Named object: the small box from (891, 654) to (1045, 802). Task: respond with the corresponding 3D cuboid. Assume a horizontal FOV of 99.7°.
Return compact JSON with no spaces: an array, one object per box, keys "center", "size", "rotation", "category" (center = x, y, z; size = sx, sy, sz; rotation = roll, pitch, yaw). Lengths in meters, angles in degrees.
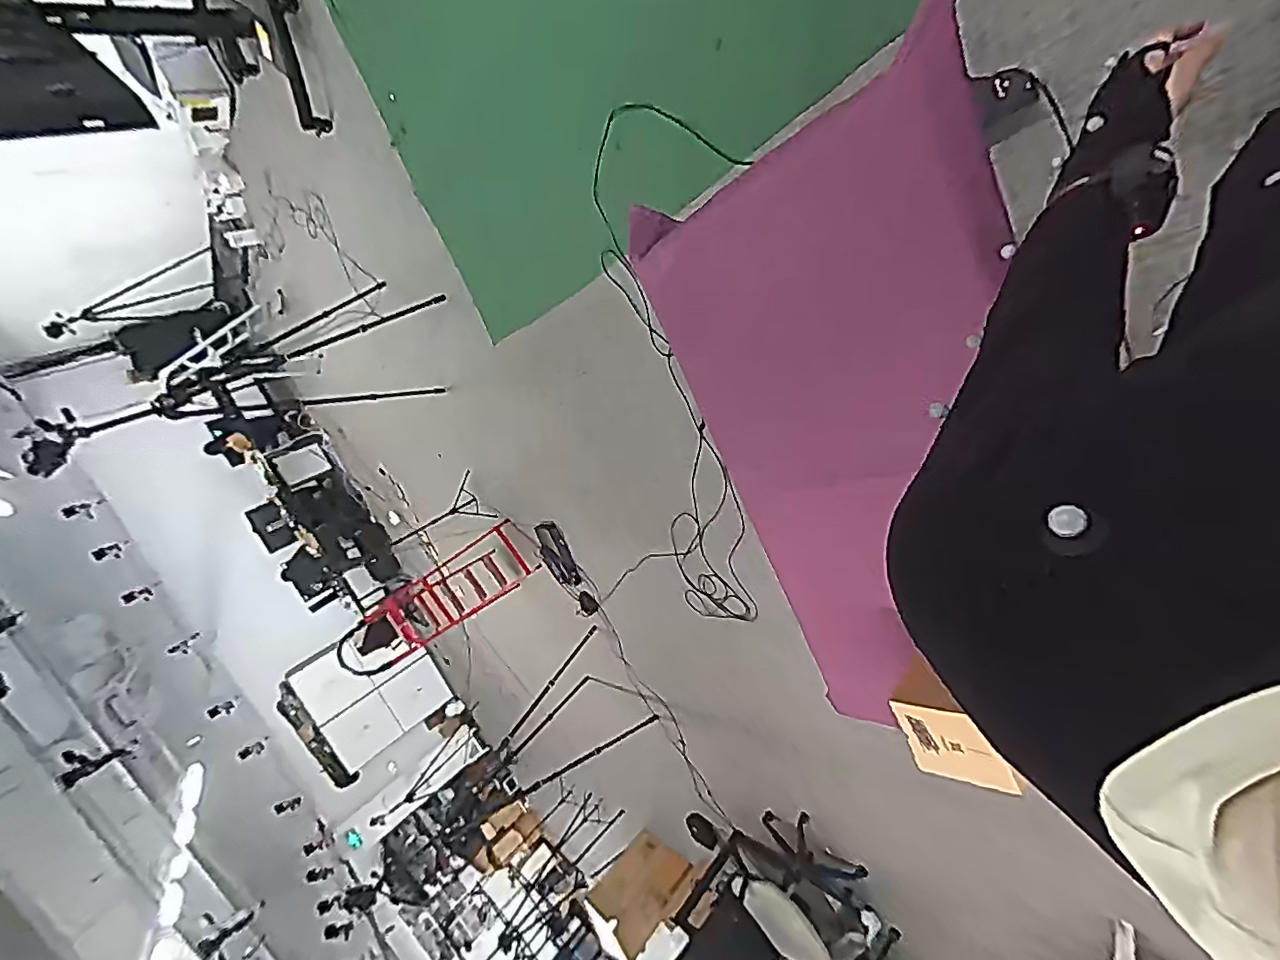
[{"center":[0.606,0.442,0.997],"size":[0.179,0.176,0.168],"rotation":[-16,104,51],"category":"small box"}]
